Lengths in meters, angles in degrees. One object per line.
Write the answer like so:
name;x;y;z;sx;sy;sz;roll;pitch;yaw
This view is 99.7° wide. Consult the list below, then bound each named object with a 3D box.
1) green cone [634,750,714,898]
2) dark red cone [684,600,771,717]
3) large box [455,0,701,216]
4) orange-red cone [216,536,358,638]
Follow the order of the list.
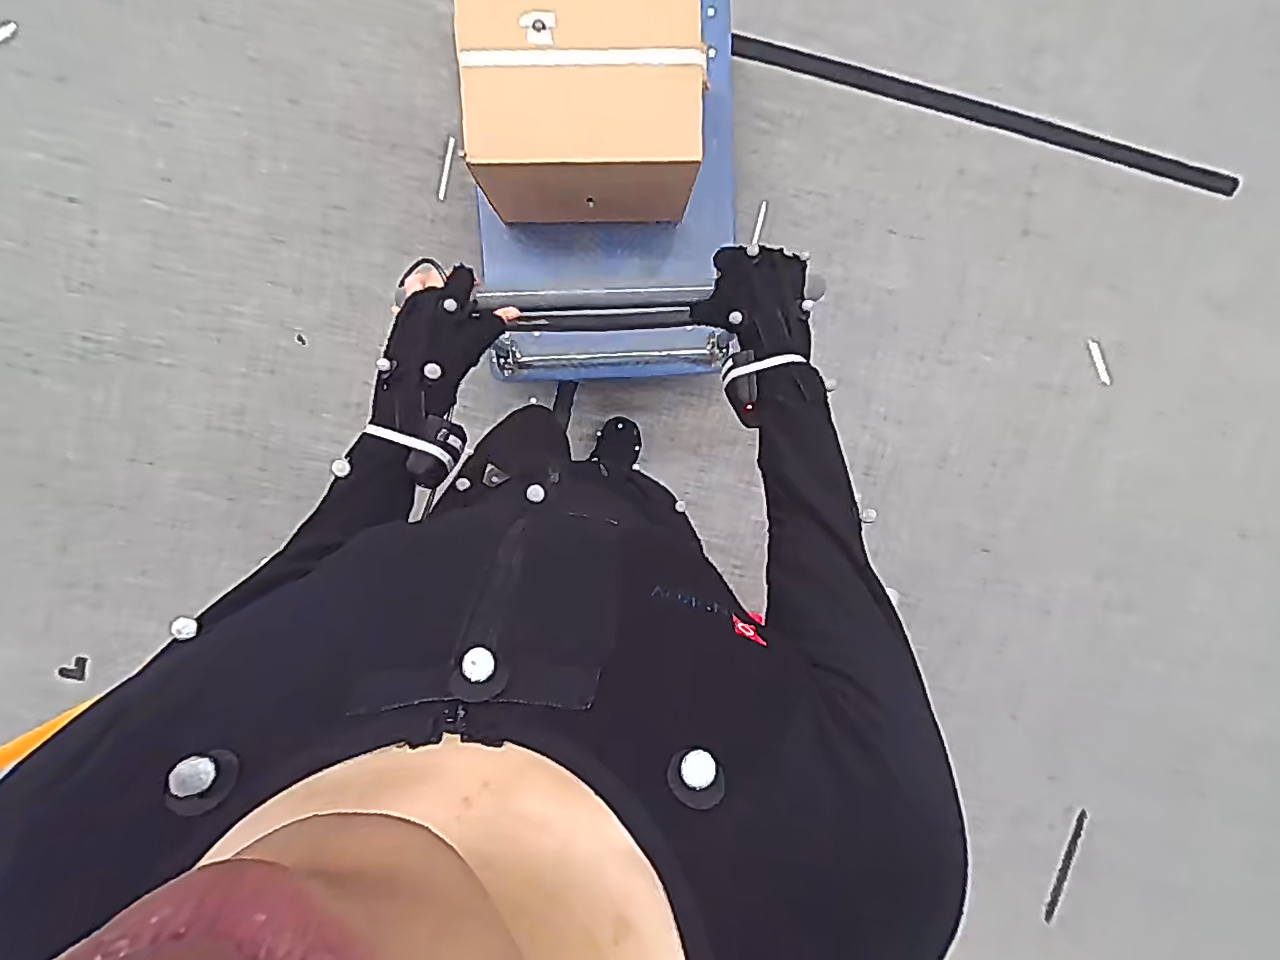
green cone;0.111;0.925;1.421;0.202;0.368;0.200;17;97;-6
dark red cone;0.246;0.465;1.347;0.201;0.394;0.202;13;97;-6
large box;-0.103;-0.722;1.043;0.408;0.320;0.320;-2;98;-1
orange-red cone;-0.873;0.287;1.293;0.198;0.360;0.199;21;95;-6
